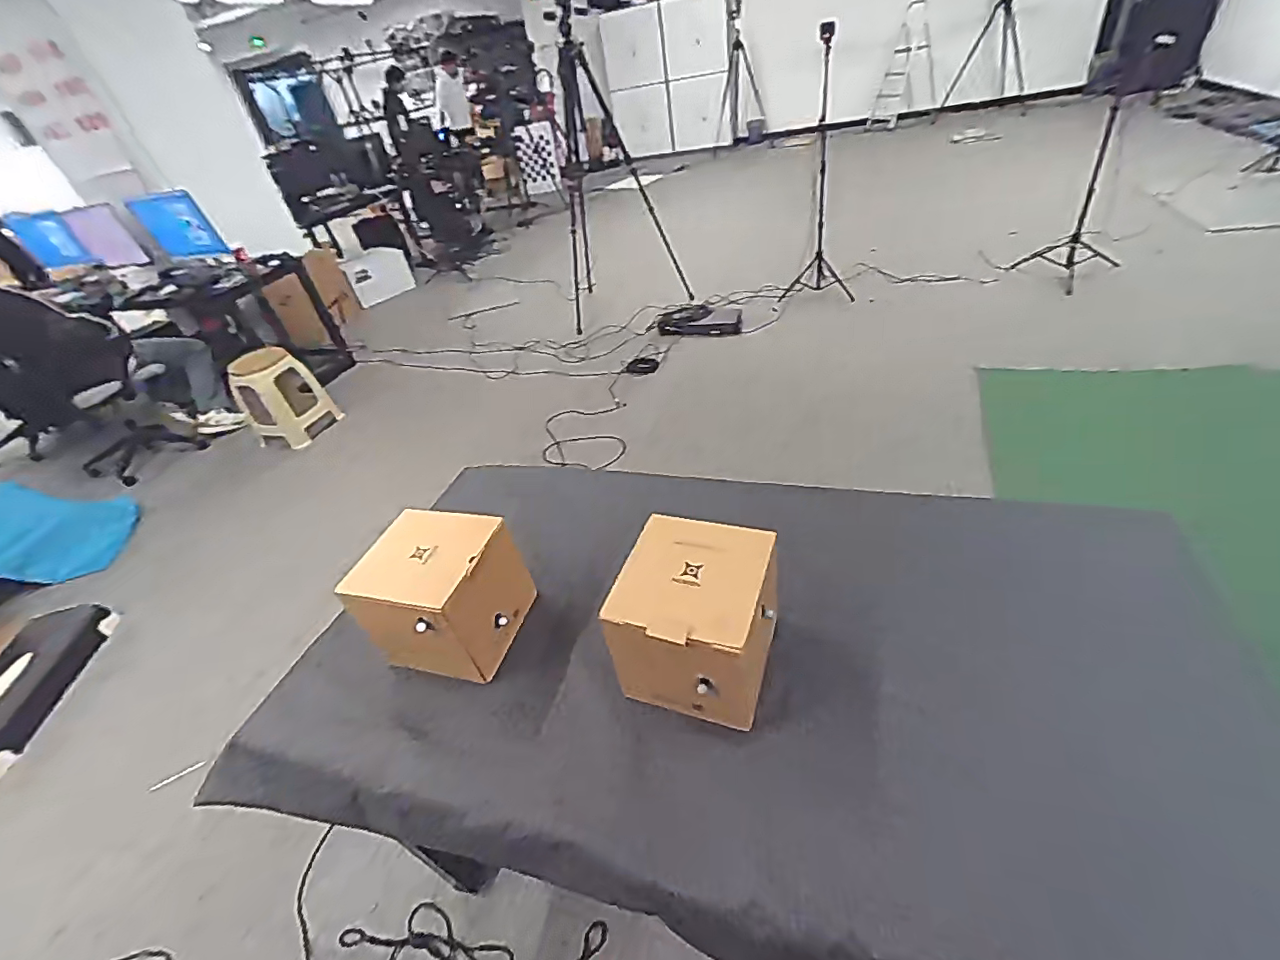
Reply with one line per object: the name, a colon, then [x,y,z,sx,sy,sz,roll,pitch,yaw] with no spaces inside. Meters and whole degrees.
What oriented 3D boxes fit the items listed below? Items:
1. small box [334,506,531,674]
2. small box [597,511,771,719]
small box: [-0.284,0.157,0.782,0.179,0.176,0.168,4,41,18]
small box: [0.068,0.166,0.678,0.168,0.176,0.179,8,41,21]
